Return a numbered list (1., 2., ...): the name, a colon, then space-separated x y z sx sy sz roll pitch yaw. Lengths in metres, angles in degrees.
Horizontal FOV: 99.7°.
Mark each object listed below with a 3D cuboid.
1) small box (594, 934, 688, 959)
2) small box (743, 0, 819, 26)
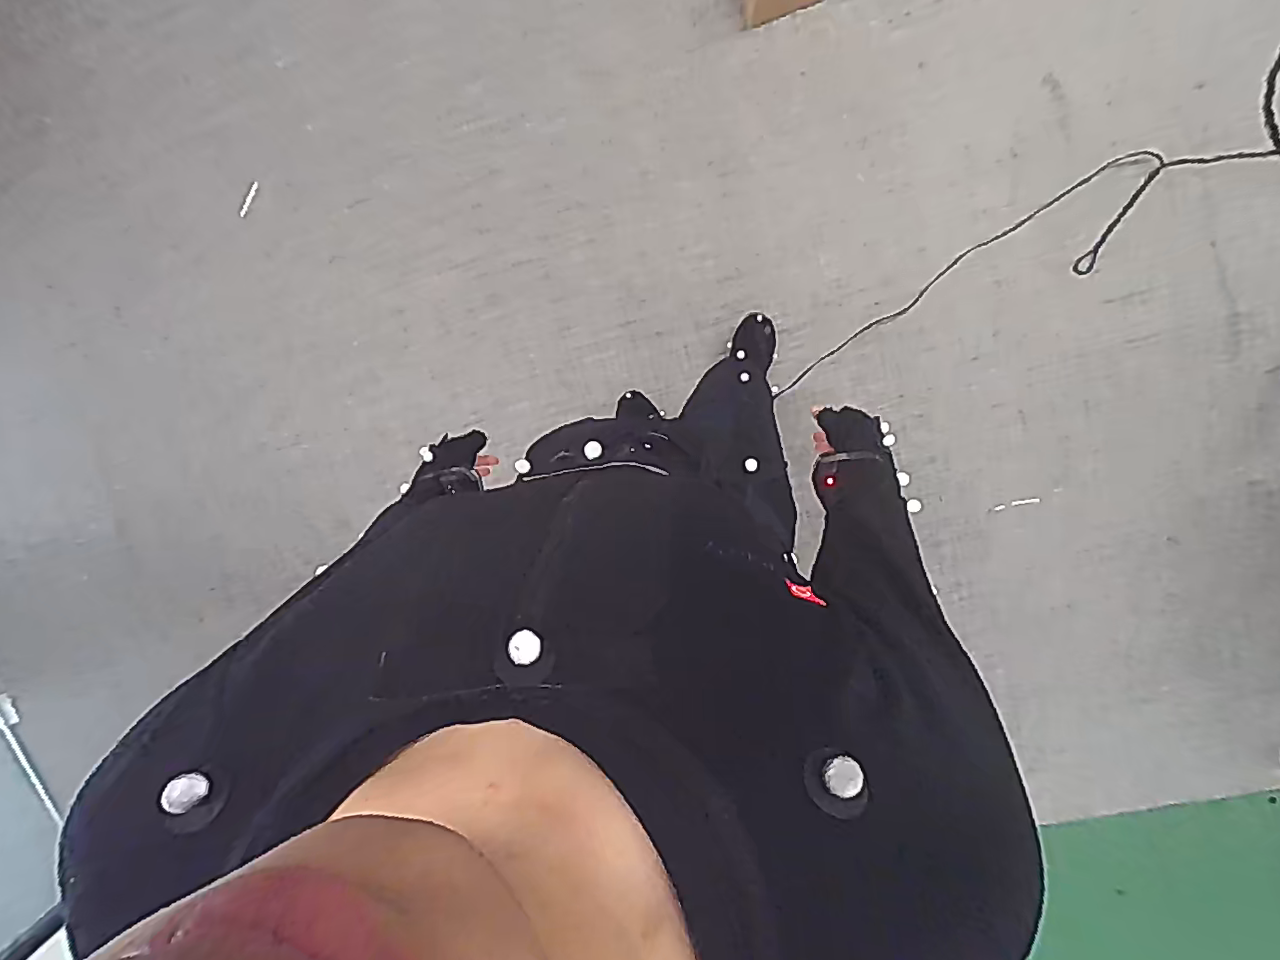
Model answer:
1. small box: 0.000 0.963 0.973 0.179 0.176 0.168 -5 102 6
2. small box: 0.300 -1.106 1.129 0.179 0.176 0.168 -15 100 7
